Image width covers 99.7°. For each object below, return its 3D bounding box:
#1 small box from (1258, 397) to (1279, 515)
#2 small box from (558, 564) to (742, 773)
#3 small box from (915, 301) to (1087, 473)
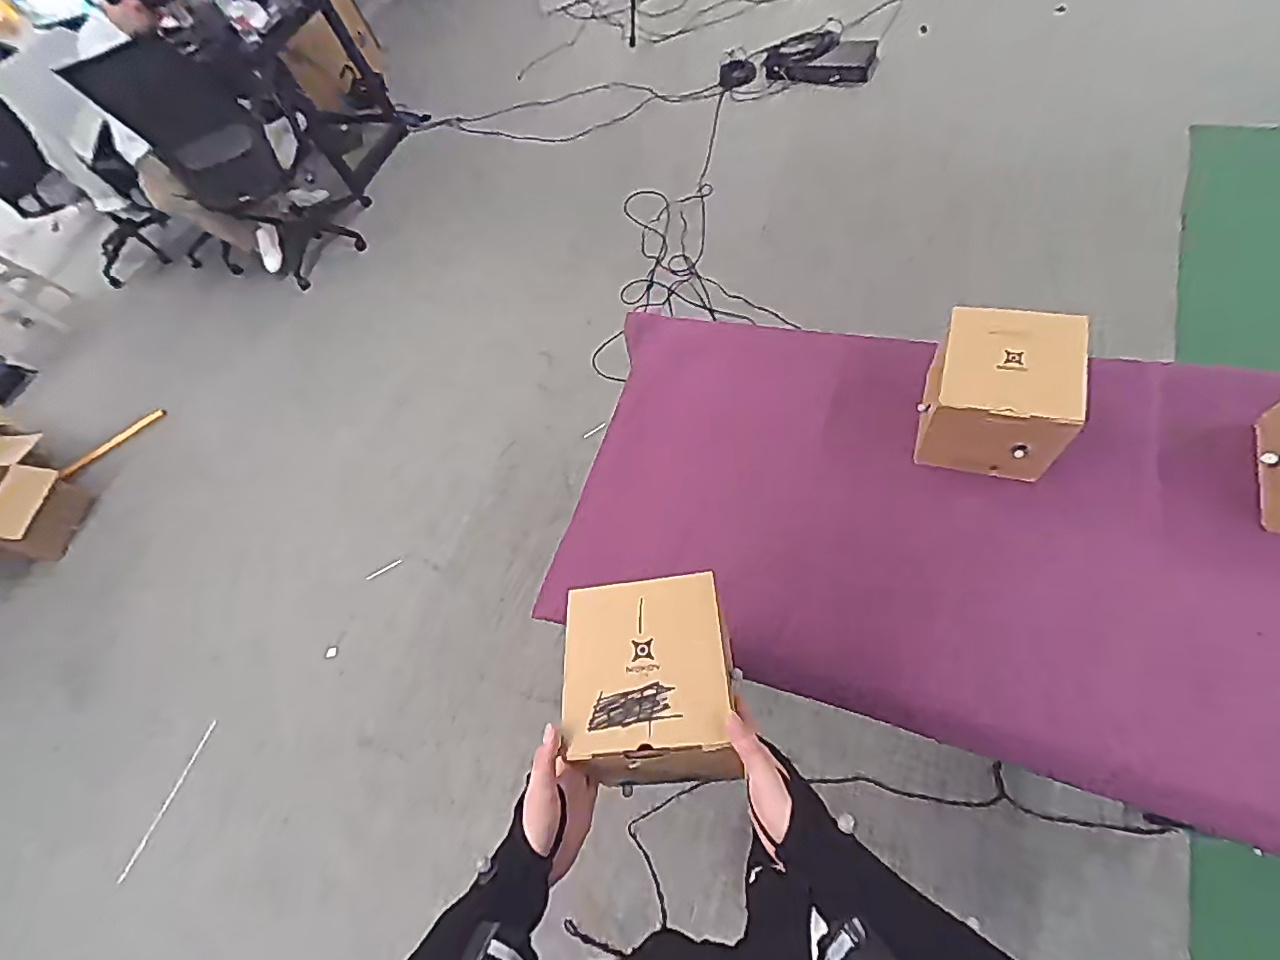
[{"bbox_3d":[0.885,-0.037,0.629,0.168,0.176,0.179,13,69,22],"label":"small box"},{"bbox_3d":[0.018,0.219,0.607,0.168,0.176,0.179,-9,51,9],"label":"small box"},{"bbox_3d":[0.511,-0.130,0.785,0.168,0.176,0.179,12,67,21],"label":"small box"}]
